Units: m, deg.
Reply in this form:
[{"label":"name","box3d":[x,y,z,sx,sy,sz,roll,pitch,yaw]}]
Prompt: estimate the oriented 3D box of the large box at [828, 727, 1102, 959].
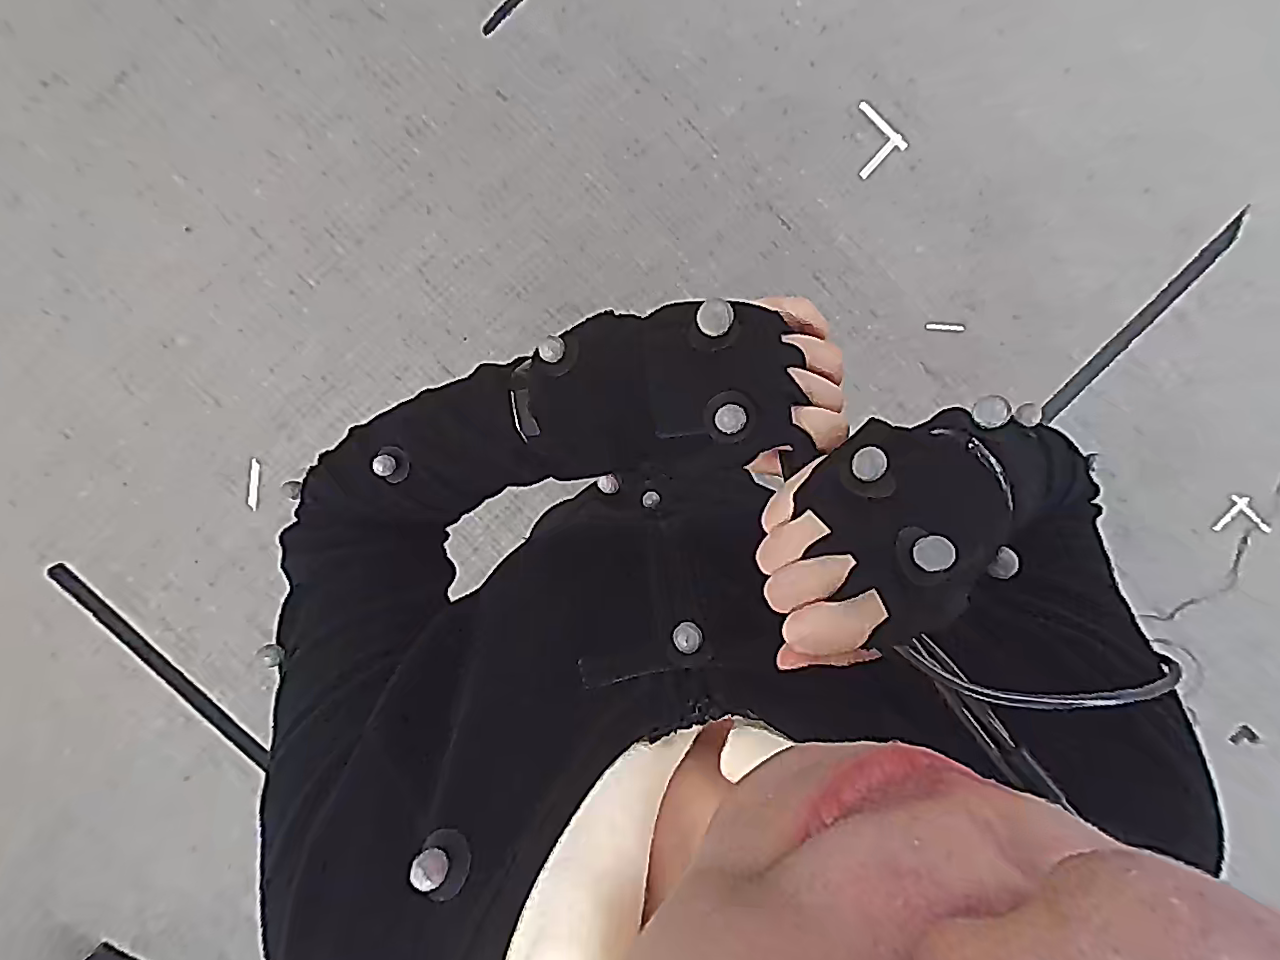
[{"label":"large box","box3d":[0.702,0.866,1.229,0.320,0.320,0.408,28,91,-3]}]
